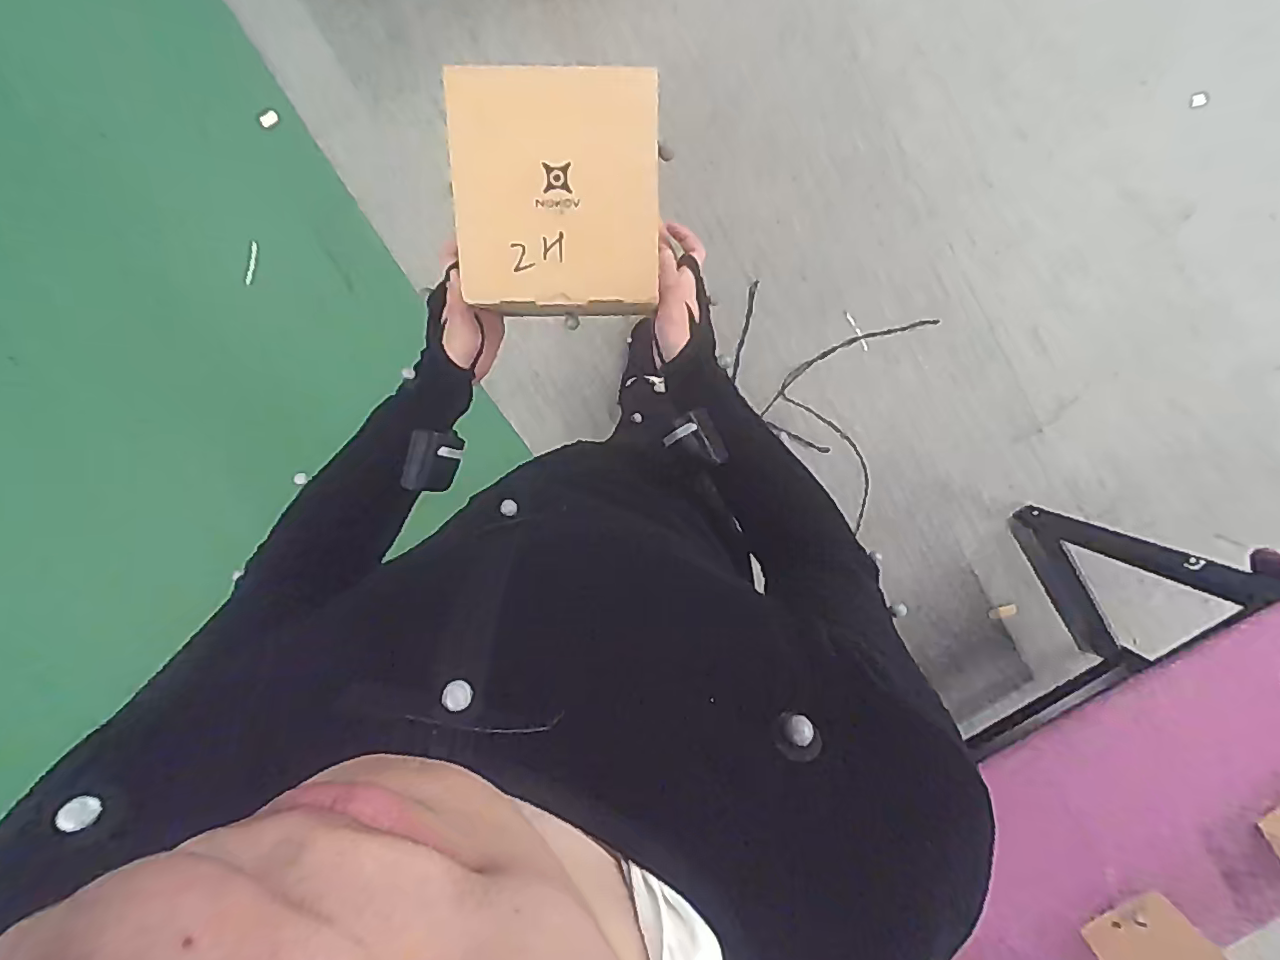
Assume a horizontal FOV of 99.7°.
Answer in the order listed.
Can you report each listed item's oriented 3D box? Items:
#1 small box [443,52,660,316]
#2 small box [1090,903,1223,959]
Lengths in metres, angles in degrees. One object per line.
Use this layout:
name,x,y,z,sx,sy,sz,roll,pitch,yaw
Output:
small box,-0.070,-0.250,0.500,0.168,0.176,0.179,-1,103,-2
small box,0.973,0.920,0.964,0.168,0.176,0.179,-34,98,4
